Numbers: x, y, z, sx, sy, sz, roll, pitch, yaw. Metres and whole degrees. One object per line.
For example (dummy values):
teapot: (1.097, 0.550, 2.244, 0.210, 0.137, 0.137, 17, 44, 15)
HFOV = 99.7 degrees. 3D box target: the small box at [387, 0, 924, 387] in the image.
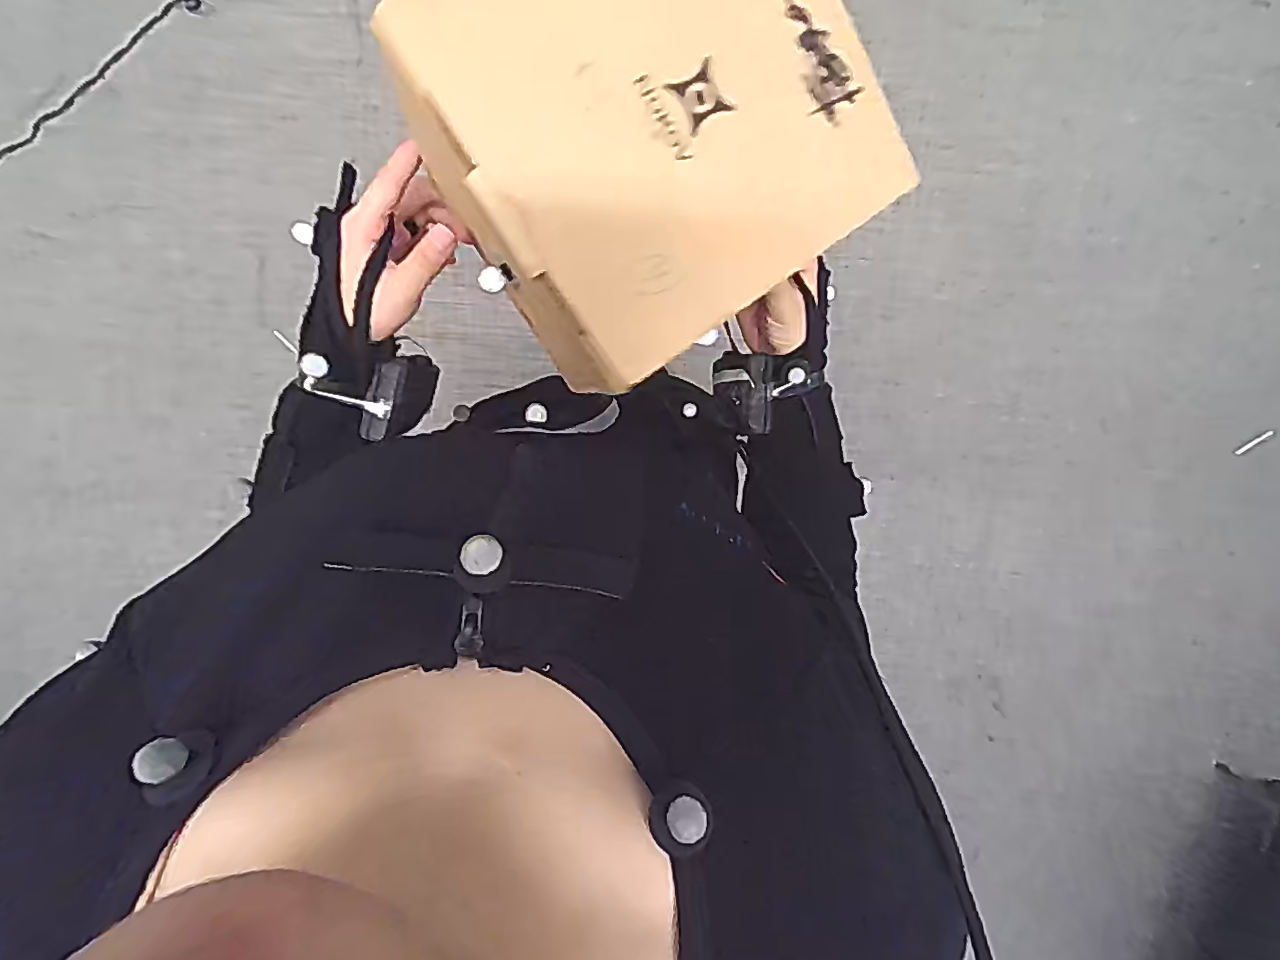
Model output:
small box: (0.002, -0.163, 0.299, 0.179, 0.176, 0.168, -37, 106, -6)
